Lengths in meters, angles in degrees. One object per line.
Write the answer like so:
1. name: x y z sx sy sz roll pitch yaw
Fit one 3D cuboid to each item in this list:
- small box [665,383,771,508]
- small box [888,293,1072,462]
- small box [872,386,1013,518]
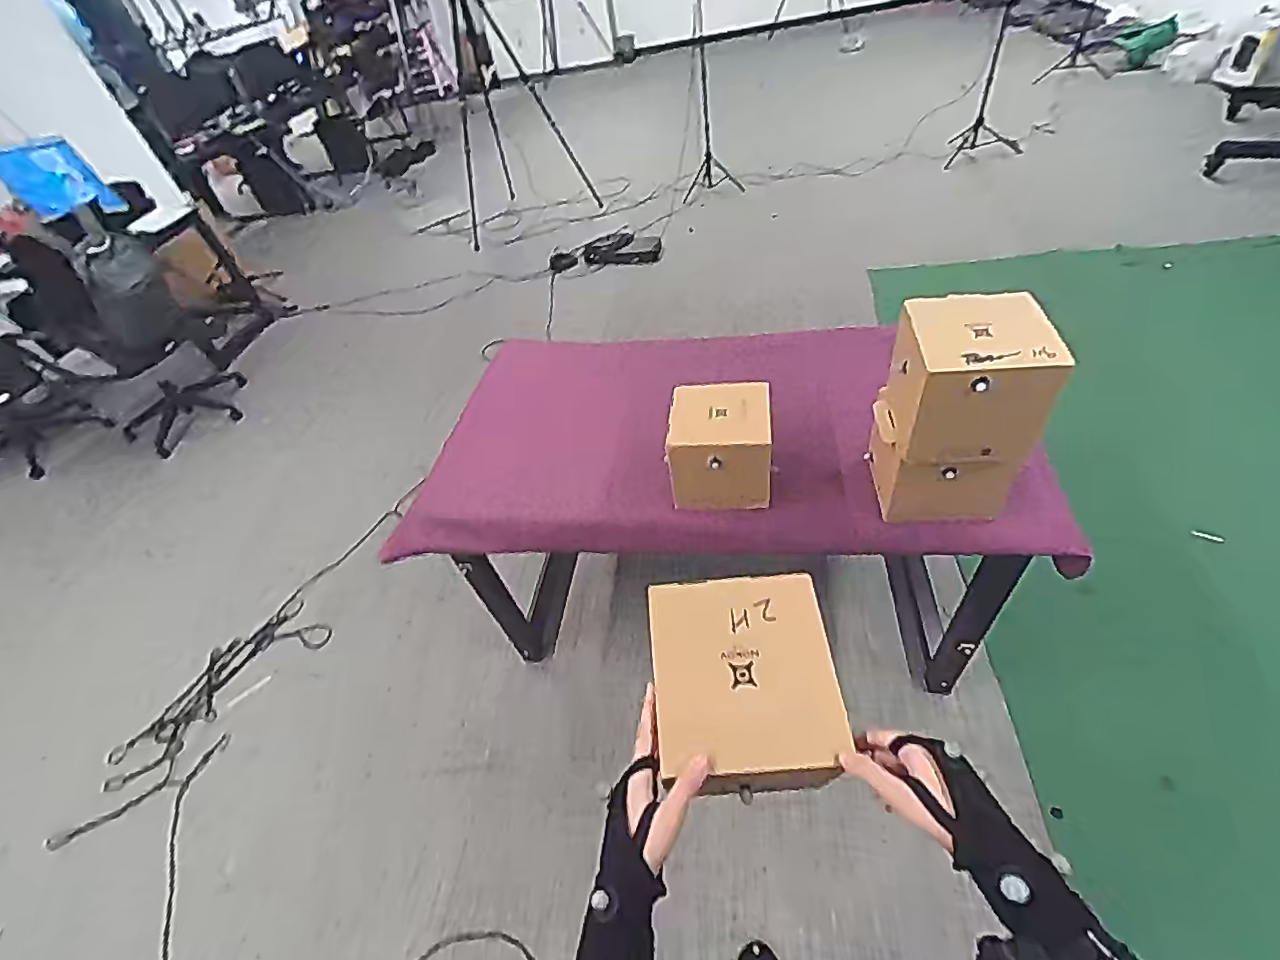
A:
1. small box: 0.151 -0.061 1.002 0.179 0.176 0.168 0 47 12
2. small box: 0.466 -0.145 0.778 0.168 0.176 0.179 -1 47 13
3. small box: 0.498 -0.048 0.907 0.179 0.176 0.168 -2 47 11
